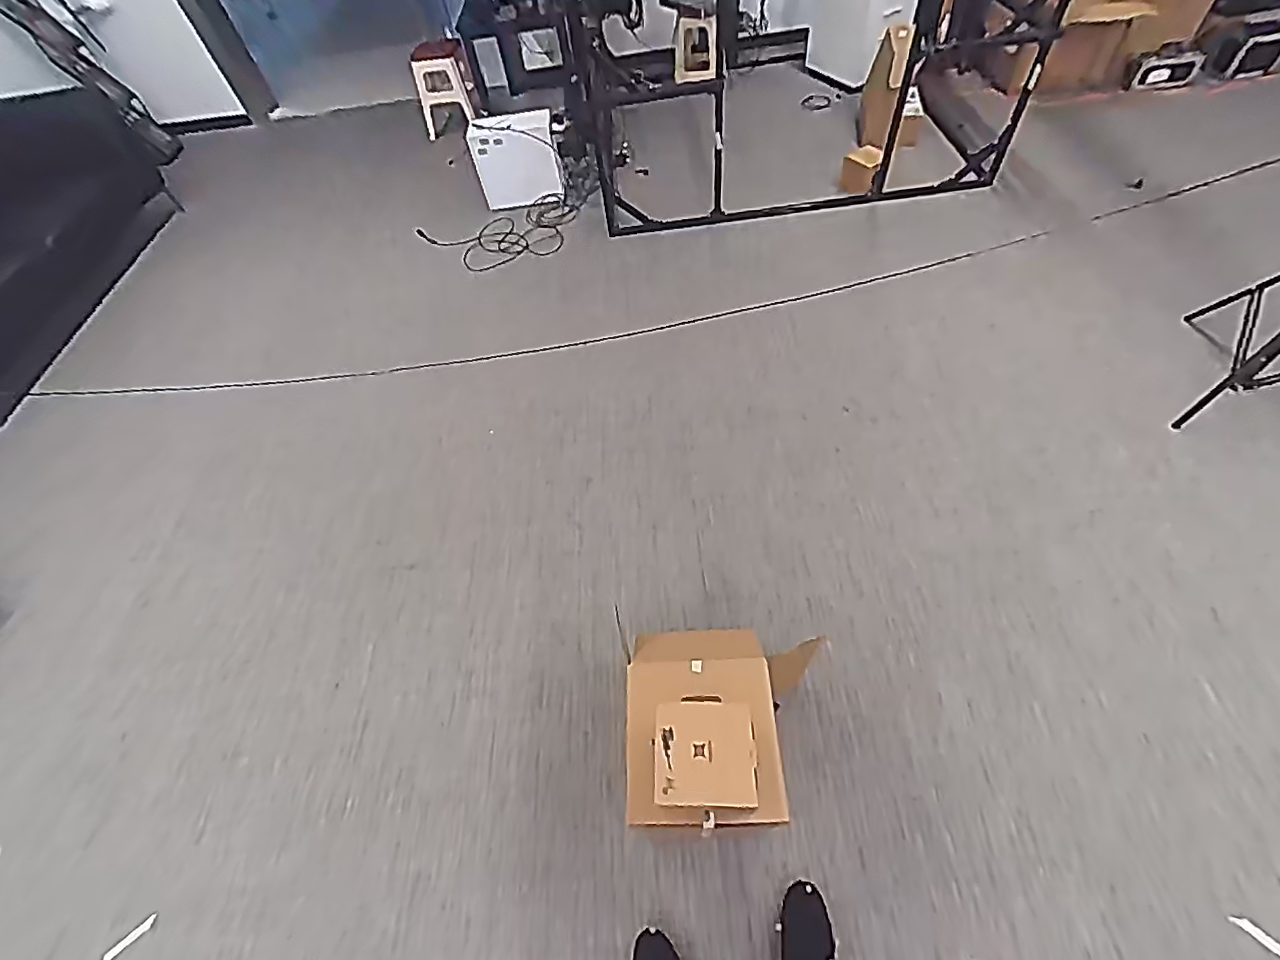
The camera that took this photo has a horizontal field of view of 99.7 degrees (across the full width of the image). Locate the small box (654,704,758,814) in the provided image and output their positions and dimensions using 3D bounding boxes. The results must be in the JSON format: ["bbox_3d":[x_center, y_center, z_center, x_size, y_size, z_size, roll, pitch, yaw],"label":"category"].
[{"bbox_3d":[0.121,0.526,1.017,0.179,0.176,0.168,-1,56,6],"label":"small box"}]
